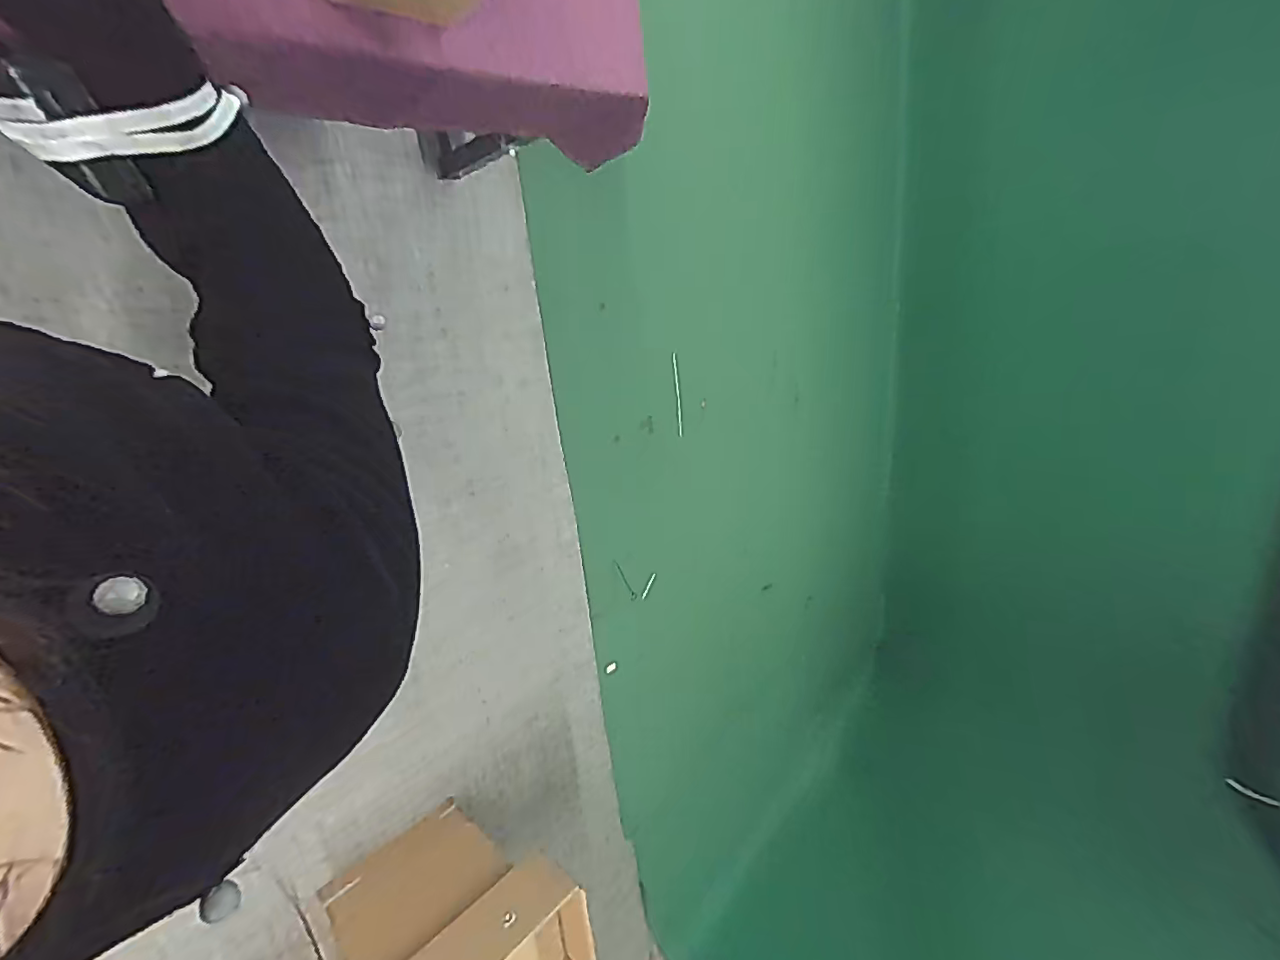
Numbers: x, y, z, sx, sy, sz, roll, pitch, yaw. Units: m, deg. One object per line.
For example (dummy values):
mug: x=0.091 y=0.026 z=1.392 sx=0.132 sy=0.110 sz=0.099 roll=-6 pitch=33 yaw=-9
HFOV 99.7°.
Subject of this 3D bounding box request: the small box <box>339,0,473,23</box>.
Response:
small box: x=-0.278 y=-0.677 z=0.630 sx=0.179 sy=0.176 sz=0.168 roll=-28 pitch=117 yaw=-39
